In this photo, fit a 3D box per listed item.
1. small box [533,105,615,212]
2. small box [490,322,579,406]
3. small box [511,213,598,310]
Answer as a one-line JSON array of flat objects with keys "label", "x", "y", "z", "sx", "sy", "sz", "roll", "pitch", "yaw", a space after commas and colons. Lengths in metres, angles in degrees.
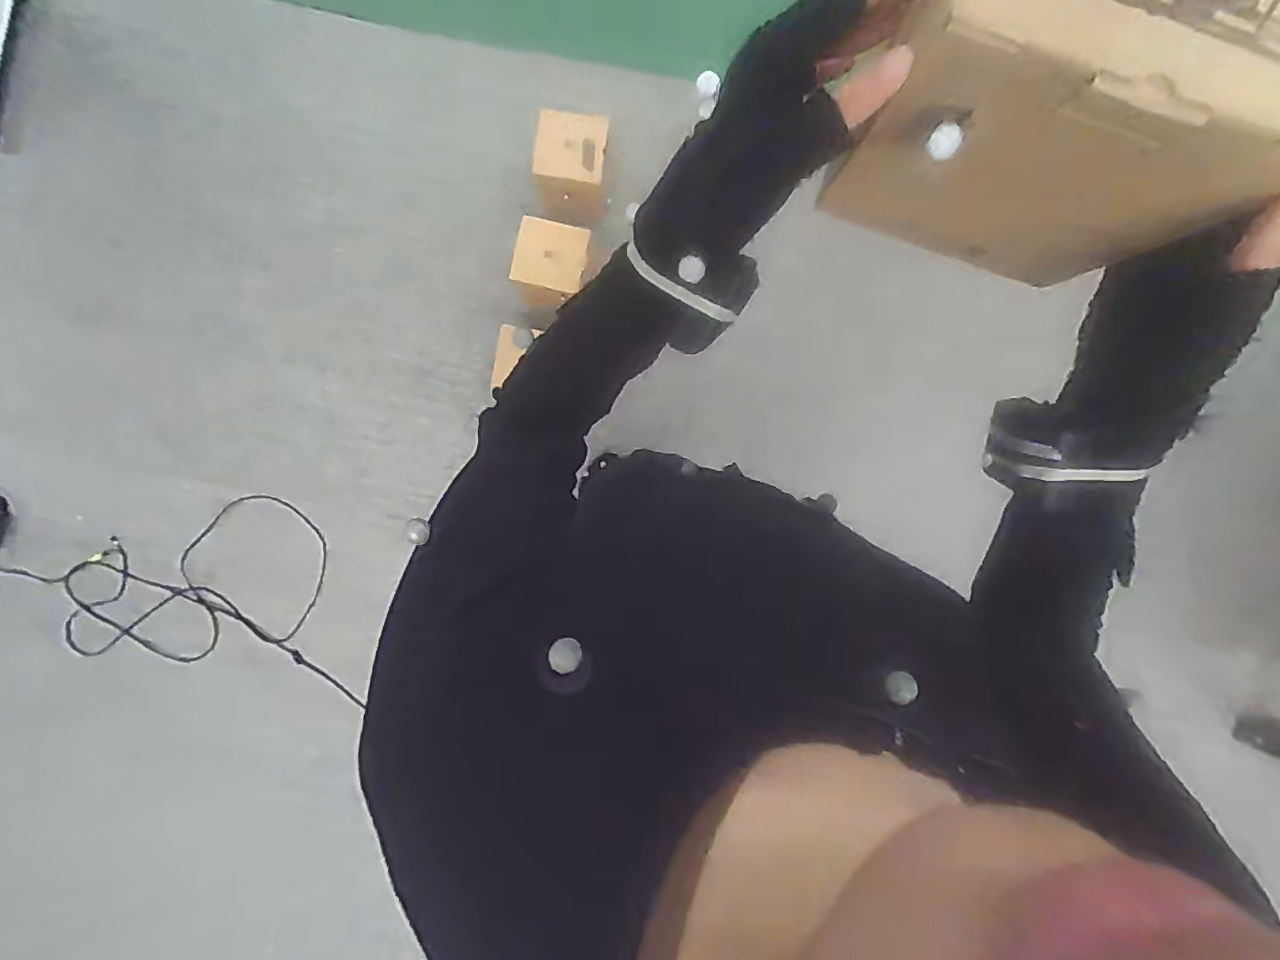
[{"label": "small box", "x": -0.163, "y": -0.818, "z": 1.395, "sx": 0.179, "sy": 0.176, "sz": 0.168, "roll": 9, "pitch": 90, "yaw": 1}, {"label": "small box", "x": -0.265, "y": -0.291, "z": 1.394, "sx": 0.179, "sy": 0.176, "sz": 0.168, "roll": 11, "pitch": 91, "yaw": 0}, {"label": "small box", "x": -0.214, "y": -0.555, "z": 1.396, "sx": 0.179, "sy": 0.176, "sz": 0.168, "roll": 12, "pitch": 90, "yaw": 0}]
